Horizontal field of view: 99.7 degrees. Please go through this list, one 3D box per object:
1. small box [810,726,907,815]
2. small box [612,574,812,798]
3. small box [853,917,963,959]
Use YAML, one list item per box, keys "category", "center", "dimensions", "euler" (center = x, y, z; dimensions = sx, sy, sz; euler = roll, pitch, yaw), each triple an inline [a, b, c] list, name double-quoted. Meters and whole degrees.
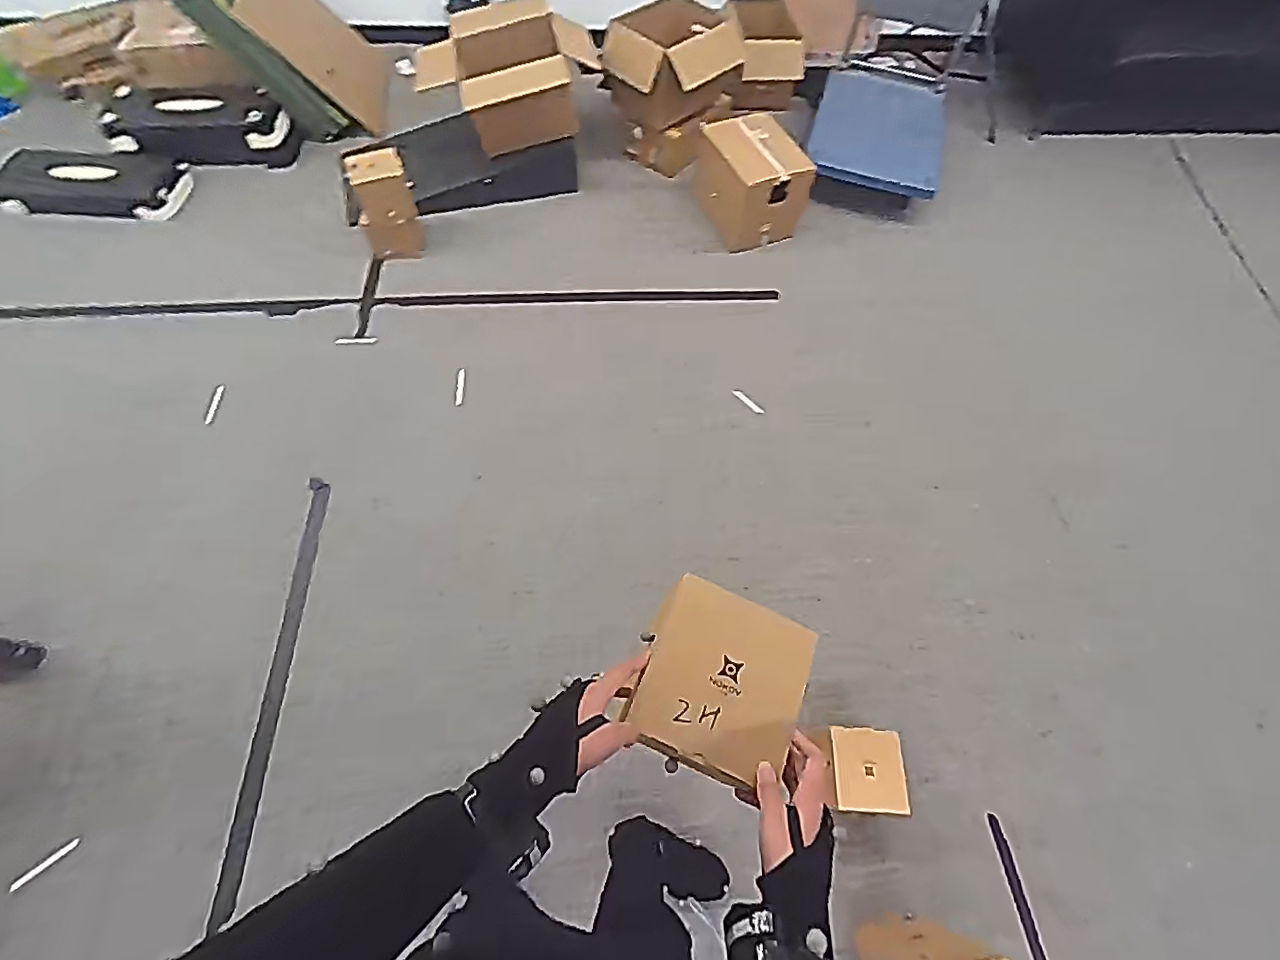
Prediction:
- category: "small box"
  center: [0.530, 0.713, 1.334]
  dimensions: [0.168, 0.176, 0.179]
  euler: [5, 61, 0]
- category: "small box"
  center: [0.074, 0.241, 0.640]
  dimensions: [0.168, 0.176, 0.179]
  euler: [25, 64, 4]
- category: "small box"
  center: [0.579, 1.062, 1.152]
  dimensions: [0.168, 0.176, 0.179]
  euler: [-4, 63, -5]
